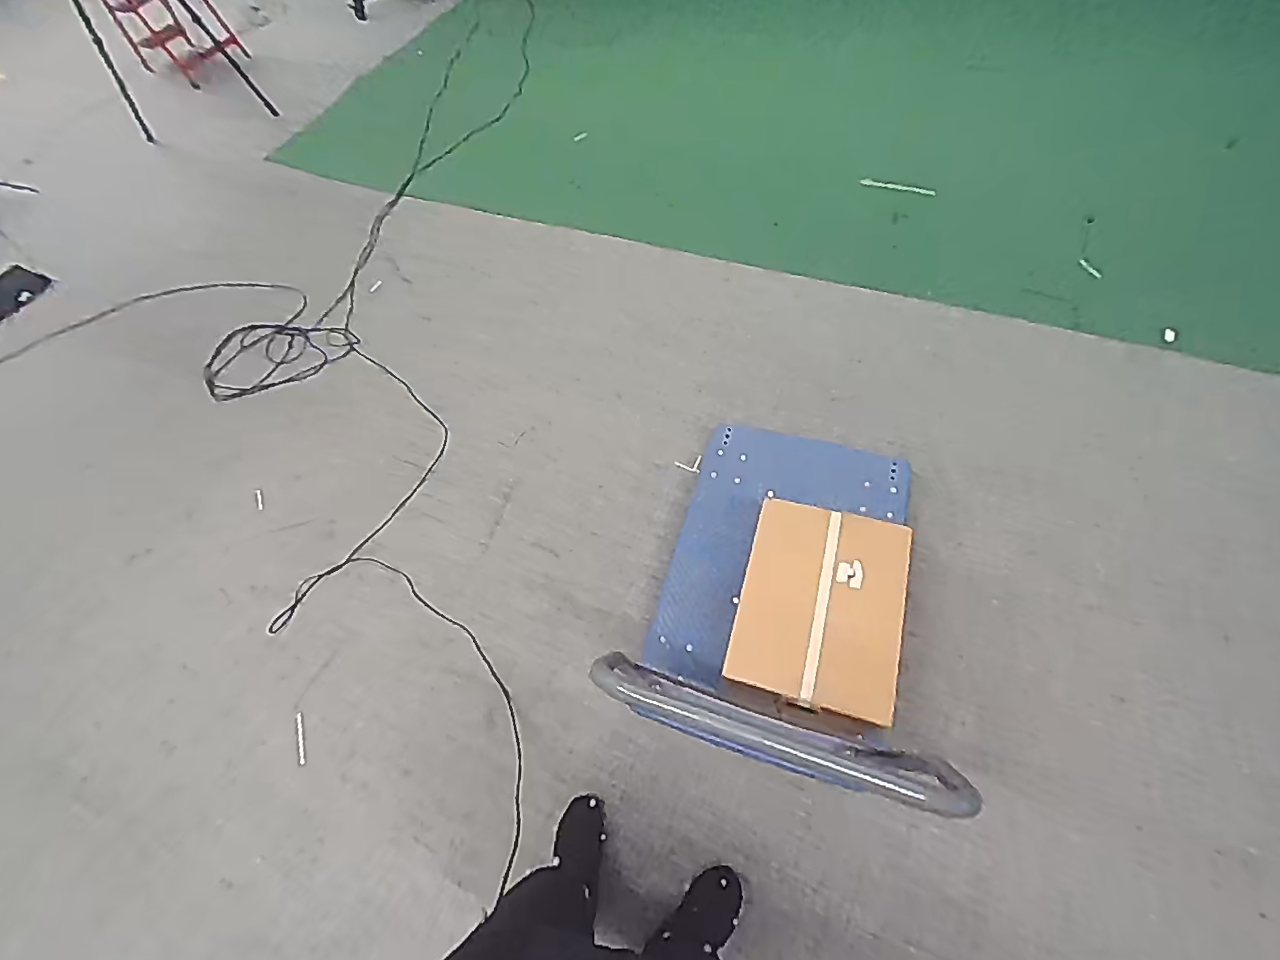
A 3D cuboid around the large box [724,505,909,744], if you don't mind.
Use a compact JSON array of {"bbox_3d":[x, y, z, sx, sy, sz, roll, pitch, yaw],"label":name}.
[{"bbox_3d":[0.382,0.328,1.216,0.320,0.320,0.408,14,63,14],"label":"large box"}]
